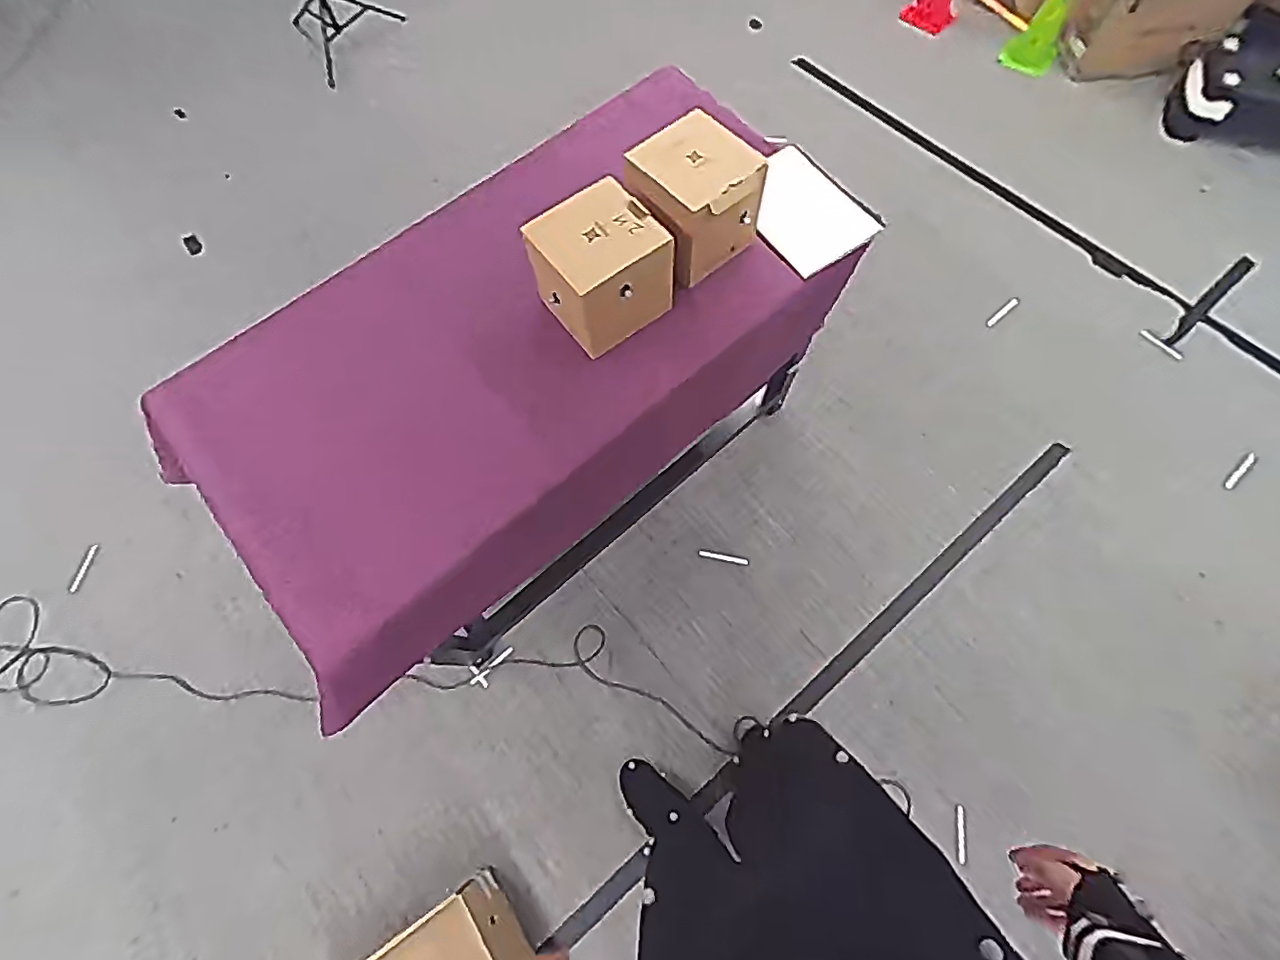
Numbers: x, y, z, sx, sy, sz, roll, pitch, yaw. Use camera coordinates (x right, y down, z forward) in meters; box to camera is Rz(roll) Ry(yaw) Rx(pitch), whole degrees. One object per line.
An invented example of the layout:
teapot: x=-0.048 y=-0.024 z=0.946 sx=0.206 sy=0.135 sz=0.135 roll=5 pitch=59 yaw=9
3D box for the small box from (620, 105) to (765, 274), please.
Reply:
small box: x=0.086 y=-0.488 z=0.936 sx=0.168 sy=0.176 sz=0.179 roll=-38 pitch=72 yaw=-12
